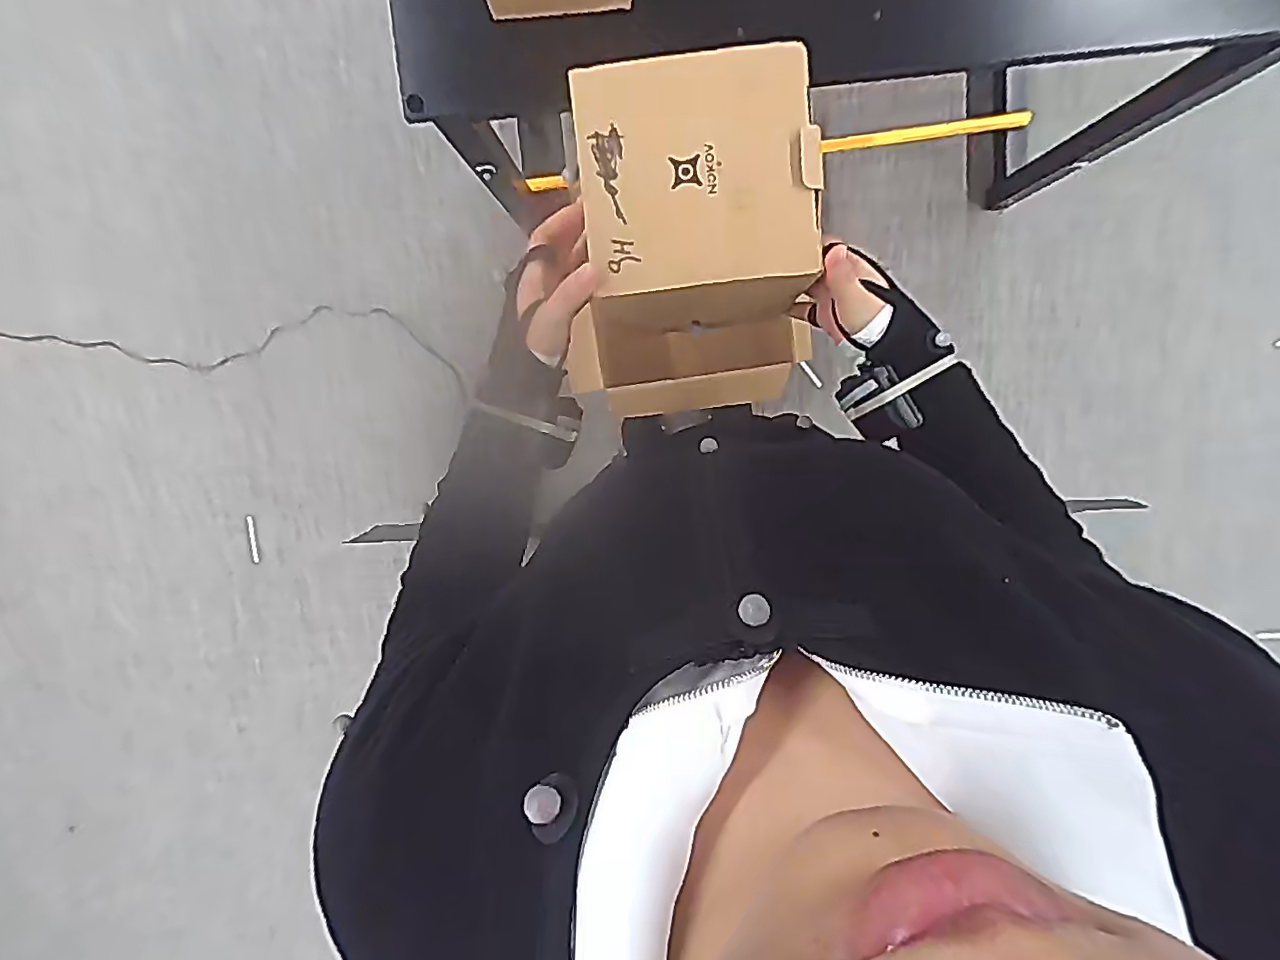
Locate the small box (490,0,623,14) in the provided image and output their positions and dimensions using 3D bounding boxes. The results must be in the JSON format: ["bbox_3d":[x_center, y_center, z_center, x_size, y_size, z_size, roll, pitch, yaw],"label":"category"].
[{"bbox_3d":[-0.102,-0.640,0.573,0.179,0.176,0.168,-4,100,1],"label":"small box"}]
